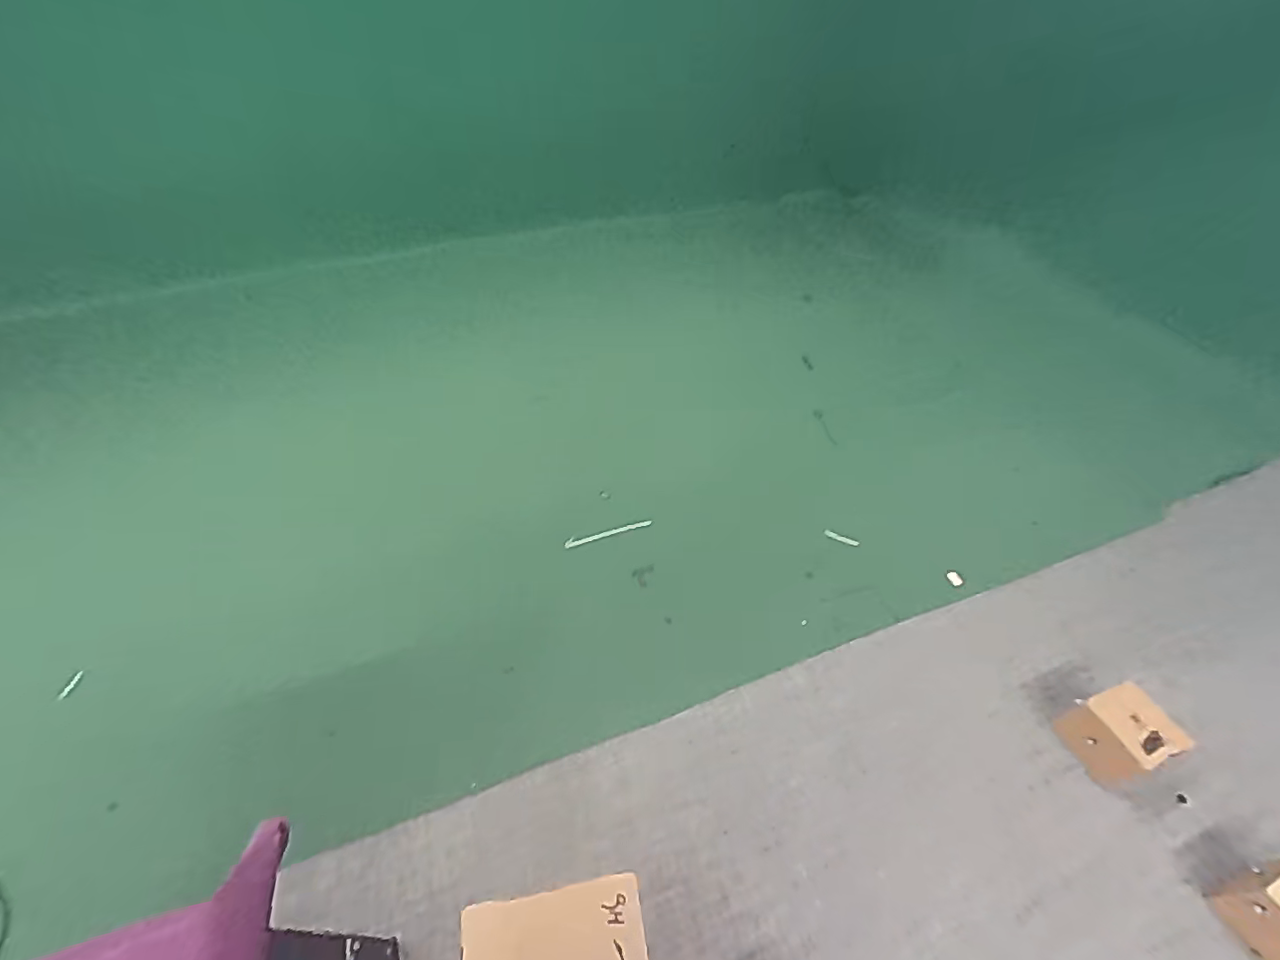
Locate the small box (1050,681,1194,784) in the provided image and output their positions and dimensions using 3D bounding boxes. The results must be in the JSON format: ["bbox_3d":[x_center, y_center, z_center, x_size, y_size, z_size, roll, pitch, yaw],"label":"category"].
[{"bbox_3d":[1.221,0.653,1.384,0.168,0.176,0.179,-15,49,-15],"label":"small box"}]

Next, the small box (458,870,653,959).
[{"bbox_3d":[-0.078,0.509,0.529,0.179,0.176,0.168,-3,47,-11],"label":"small box"}]
